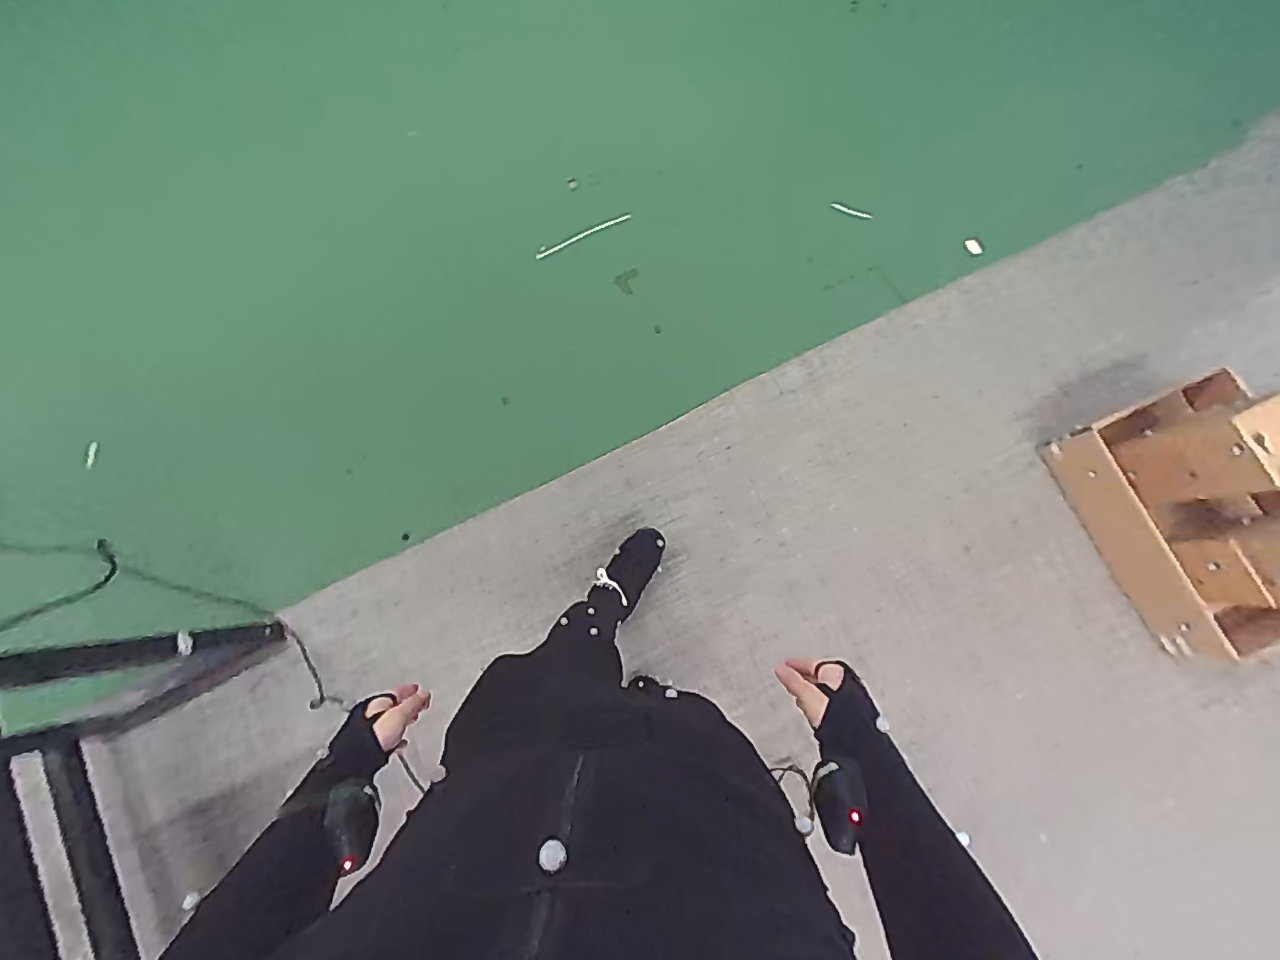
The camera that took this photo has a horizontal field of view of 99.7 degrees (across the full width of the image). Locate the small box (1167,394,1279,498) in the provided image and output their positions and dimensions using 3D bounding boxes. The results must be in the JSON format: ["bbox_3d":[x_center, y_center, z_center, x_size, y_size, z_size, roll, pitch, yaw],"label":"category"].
[{"bbox_3d":[1.332,-0.075,1.175,0.179,0.176,0.168,-26,80,-2],"label":"small box"}]

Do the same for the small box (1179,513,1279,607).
[{"bbox_3d":[1.461,0.193,1.291,0.179,0.176,0.168,-24,78,-2],"label":"small box"}]

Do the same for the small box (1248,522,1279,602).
[{"bbox_3d":[1.454,0.162,1.129,0.179,0.176,0.168,-23,79,-2],"label":"small box"}]
